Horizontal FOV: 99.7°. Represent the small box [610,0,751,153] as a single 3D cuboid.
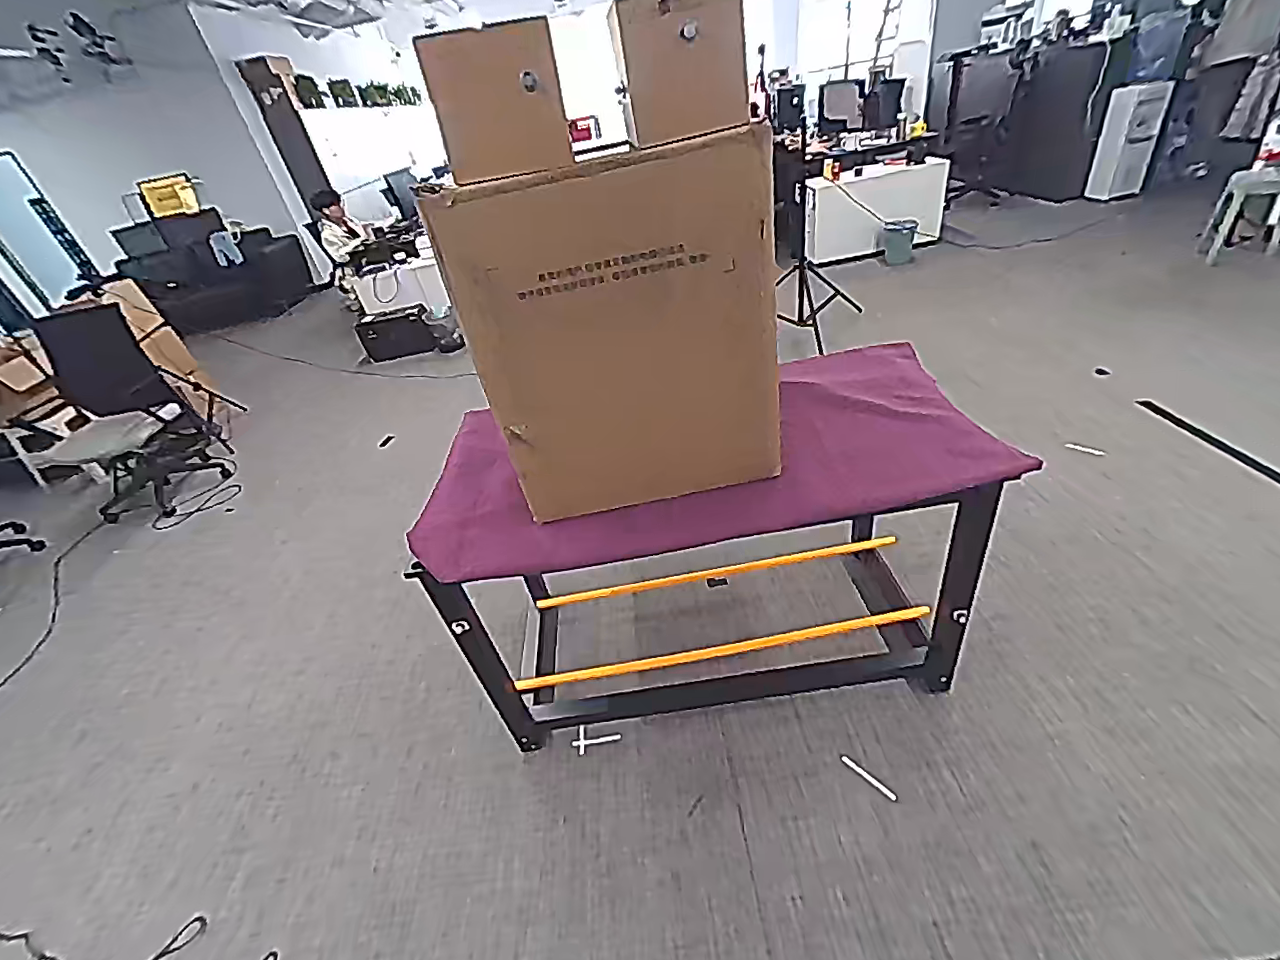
[{"bbox_3d":[0.055,-0.597,0.787,0.168,0.176,0.179,-13,35,1],"label":"small box"}]
